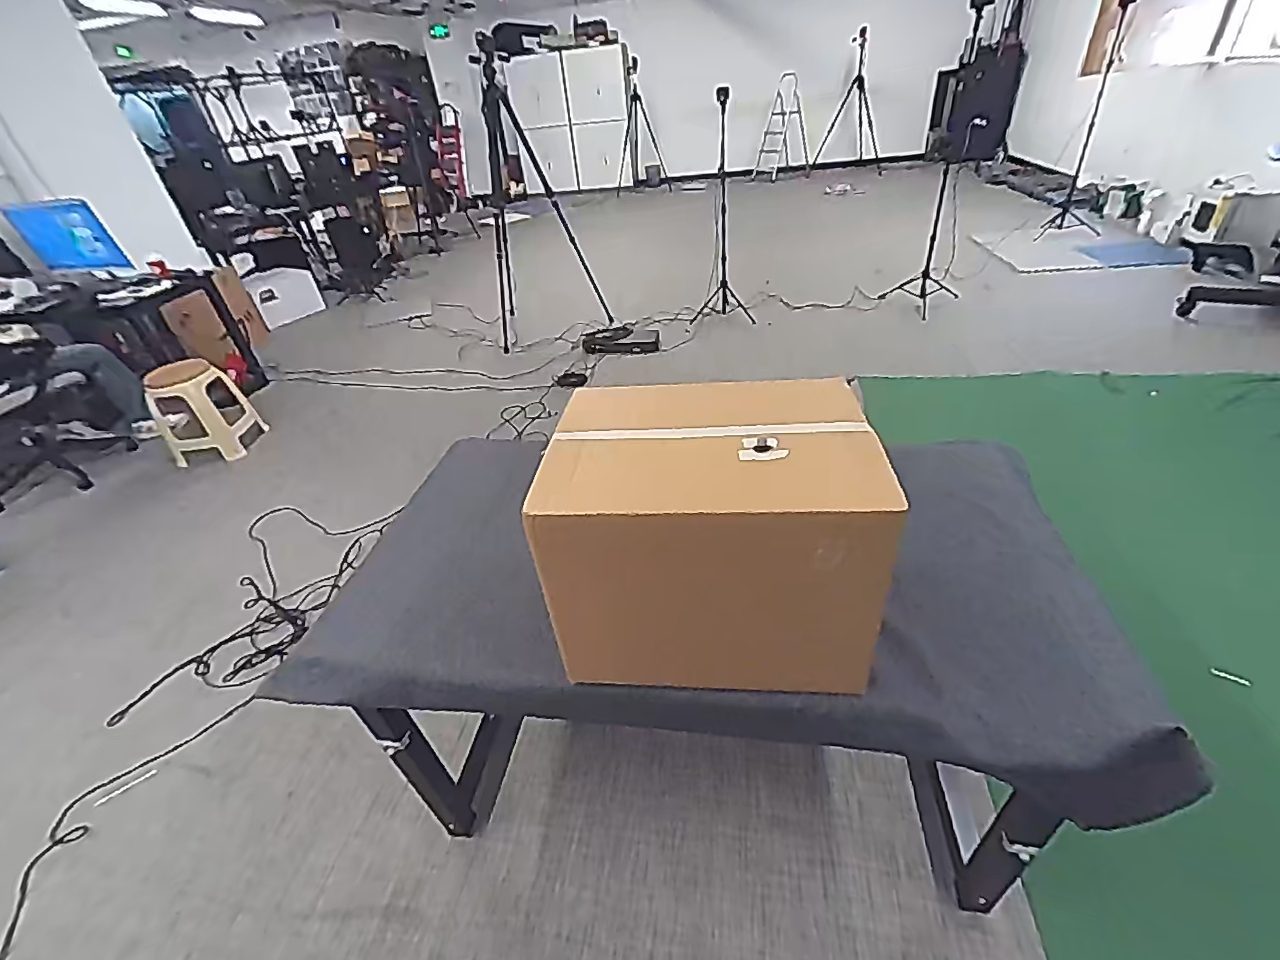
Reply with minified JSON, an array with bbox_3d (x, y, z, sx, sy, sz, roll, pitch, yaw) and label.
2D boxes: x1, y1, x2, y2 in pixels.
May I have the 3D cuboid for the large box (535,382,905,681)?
[{"bbox_3d":[0.100,0.067,0.781,0.408,0.320,0.320,0,36,7],"label":"large box"}]
